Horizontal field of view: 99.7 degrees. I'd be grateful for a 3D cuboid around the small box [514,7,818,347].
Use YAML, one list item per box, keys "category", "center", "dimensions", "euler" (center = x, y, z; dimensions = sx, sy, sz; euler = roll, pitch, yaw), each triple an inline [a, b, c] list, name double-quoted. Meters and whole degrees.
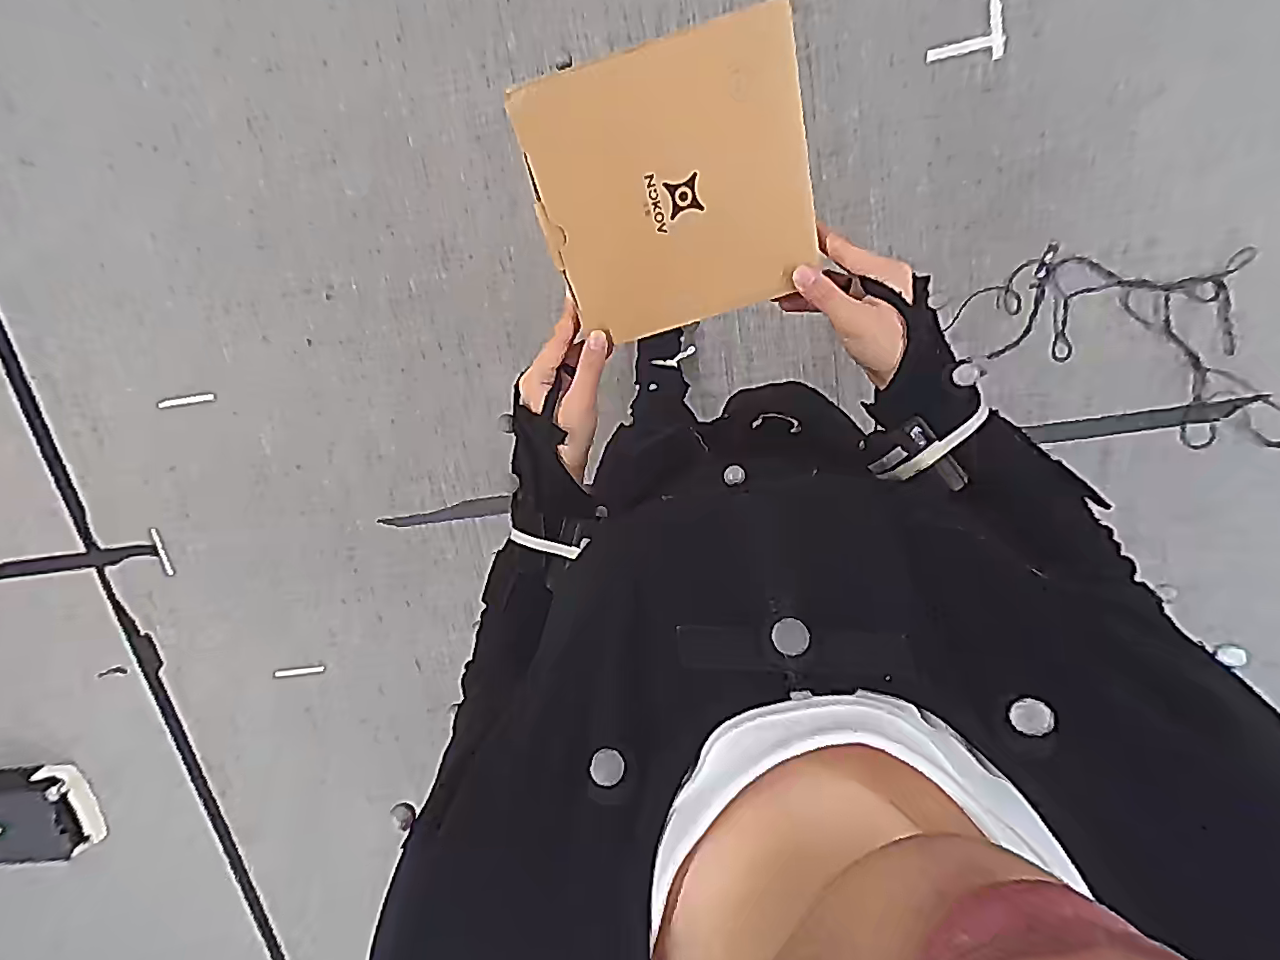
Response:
- category: "small box"
  center: [0.022, -0.228, 0.427]
  dimensions: [0.179, 0.176, 0.168]
  euler: [-14, 120, 6]
